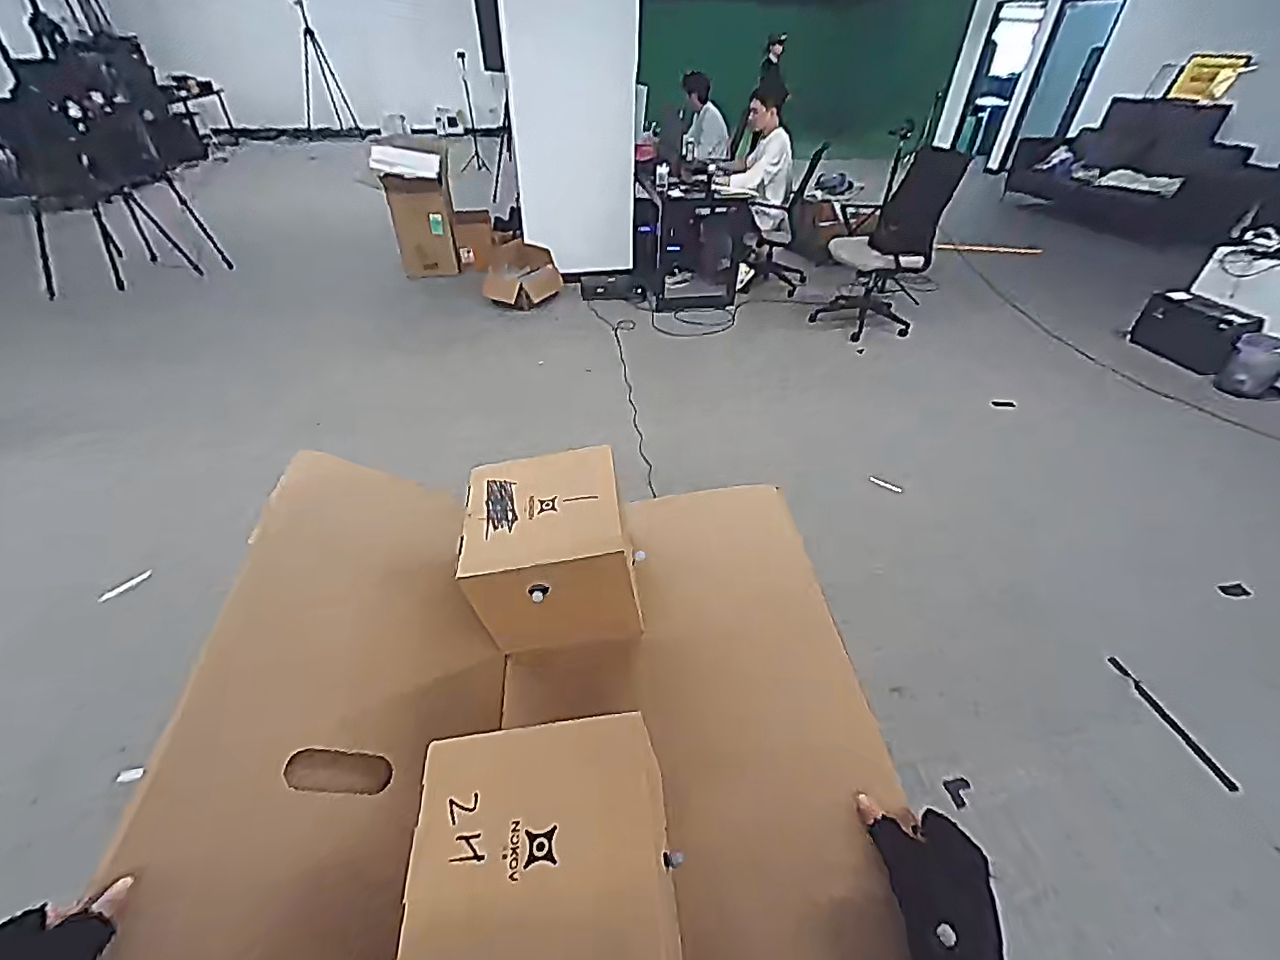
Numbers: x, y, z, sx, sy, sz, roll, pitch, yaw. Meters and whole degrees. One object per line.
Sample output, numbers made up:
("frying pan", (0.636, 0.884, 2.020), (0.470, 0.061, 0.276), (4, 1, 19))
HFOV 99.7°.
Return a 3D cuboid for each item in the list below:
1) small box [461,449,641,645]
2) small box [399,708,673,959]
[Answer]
("small box", (-0.101, 0.088, 0.676), (0.179, 0.176, 0.168), (-9, 46, 0))
("small box", (-0.068, 0.312, 0.453), (0.179, 0.176, 0.168), (-9, 45, 2))
